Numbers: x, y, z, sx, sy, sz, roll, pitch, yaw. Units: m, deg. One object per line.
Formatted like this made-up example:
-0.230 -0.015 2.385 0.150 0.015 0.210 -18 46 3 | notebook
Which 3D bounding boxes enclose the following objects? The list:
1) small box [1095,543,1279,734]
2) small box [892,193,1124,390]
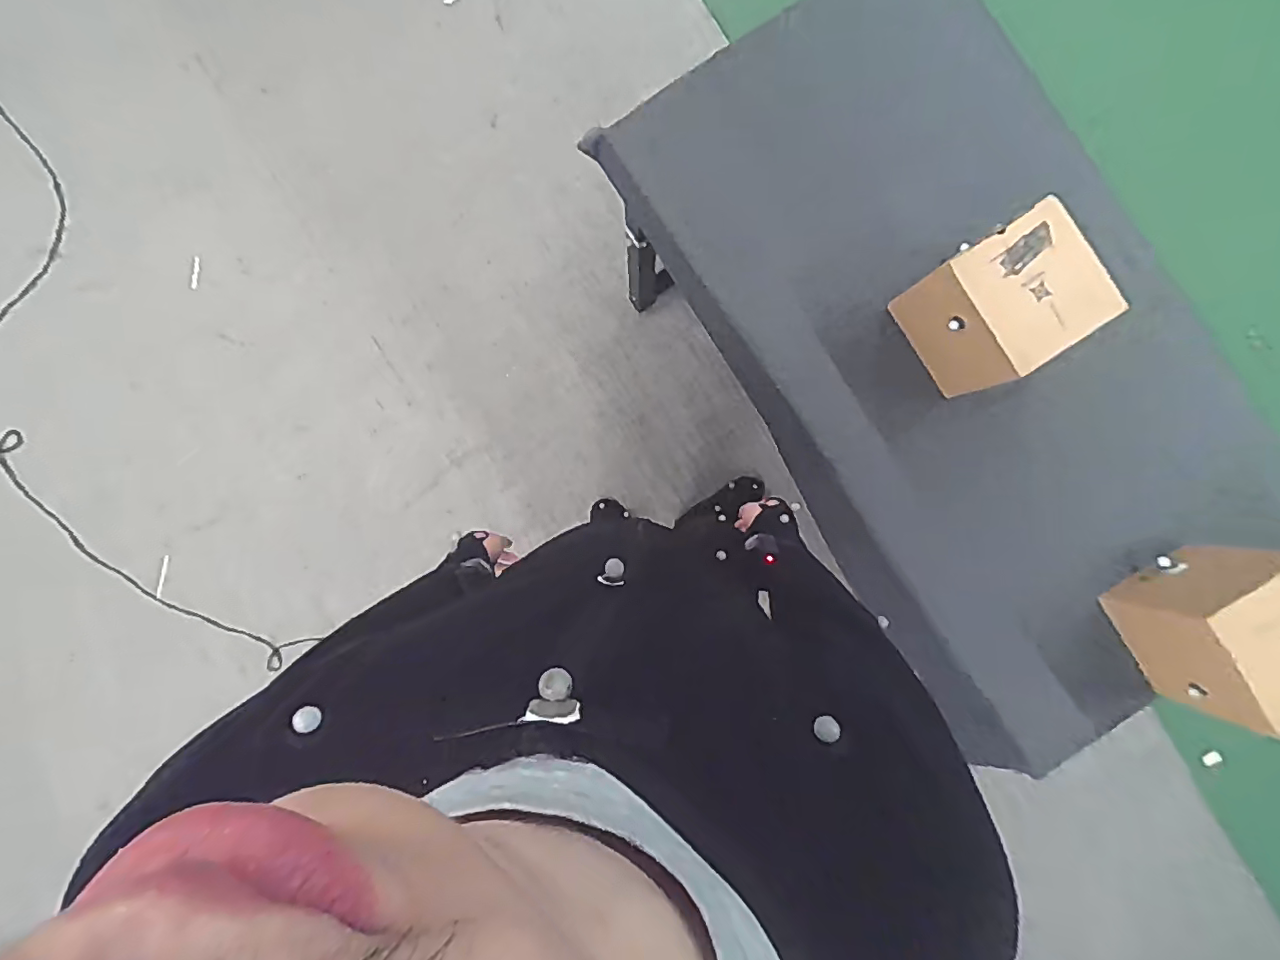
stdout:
0.809 0.205 0.754 0.168 0.176 0.179 -32 89 -1 | small box
0.493 -0.247 0.755 0.168 0.176 0.179 -32 91 0 | small box
